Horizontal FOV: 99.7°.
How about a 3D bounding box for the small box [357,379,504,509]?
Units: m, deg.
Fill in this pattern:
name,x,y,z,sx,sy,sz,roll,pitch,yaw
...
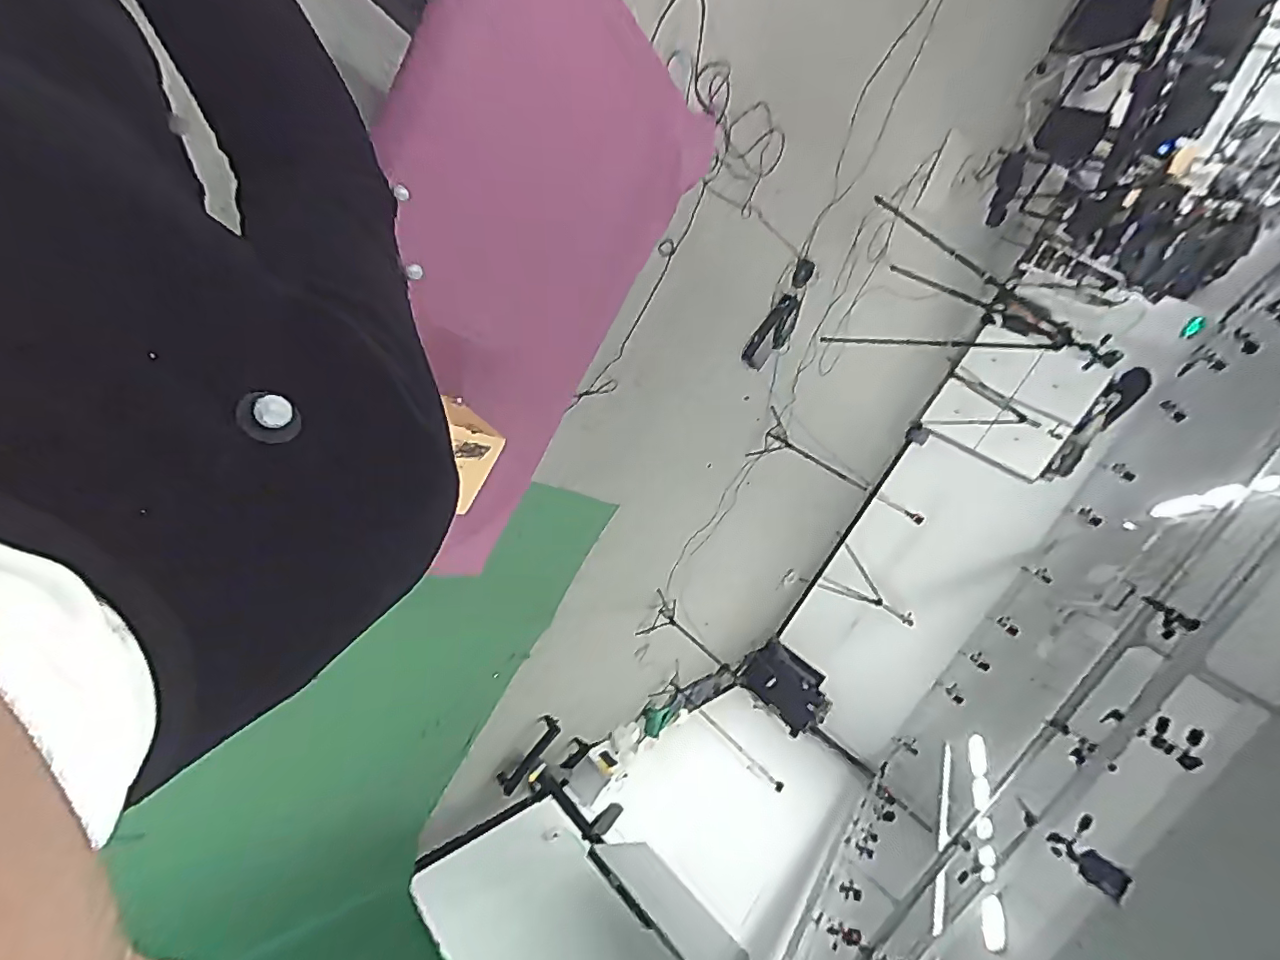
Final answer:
name,x,y,z,sx,sy,sz,roll,pitch,yaw
small box,-0.402,-0.067,1.030,0.179,0.176,0.168,-58,151,8
